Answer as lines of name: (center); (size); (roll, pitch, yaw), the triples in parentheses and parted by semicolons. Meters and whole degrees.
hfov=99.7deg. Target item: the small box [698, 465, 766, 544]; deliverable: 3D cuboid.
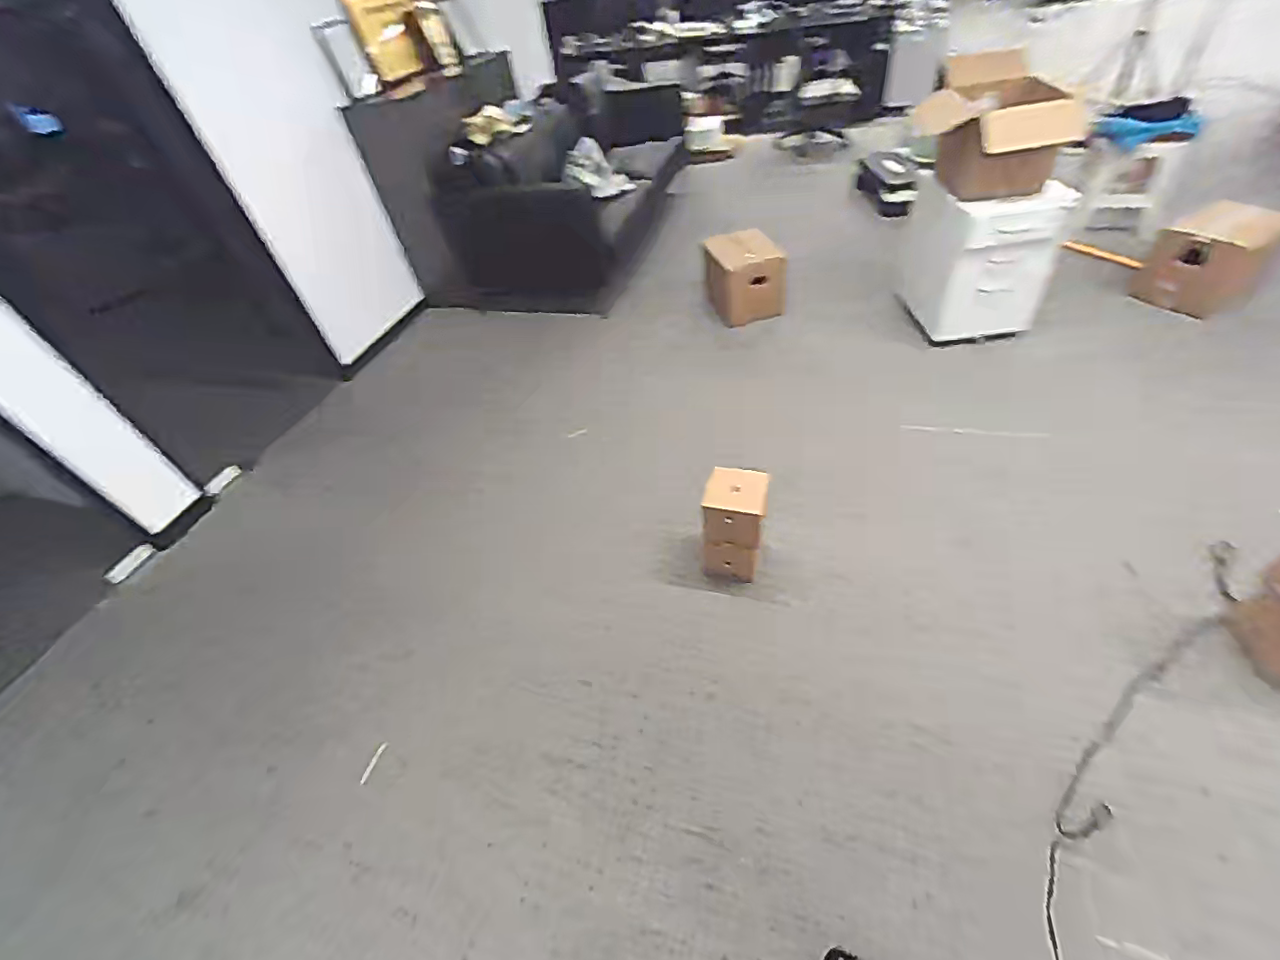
small box: (0.284, 0.077, 1.648); (0.179, 0.176, 0.168); (7, 49, 18)

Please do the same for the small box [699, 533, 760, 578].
small box: (0.298, 0.195, 1.761); (0.168, 0.176, 0.179); (7, 48, 19)

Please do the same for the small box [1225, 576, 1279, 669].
small box: (1.598, 0.350, 1.314); (0.179, 0.176, 0.168); (1, 46, 12)
